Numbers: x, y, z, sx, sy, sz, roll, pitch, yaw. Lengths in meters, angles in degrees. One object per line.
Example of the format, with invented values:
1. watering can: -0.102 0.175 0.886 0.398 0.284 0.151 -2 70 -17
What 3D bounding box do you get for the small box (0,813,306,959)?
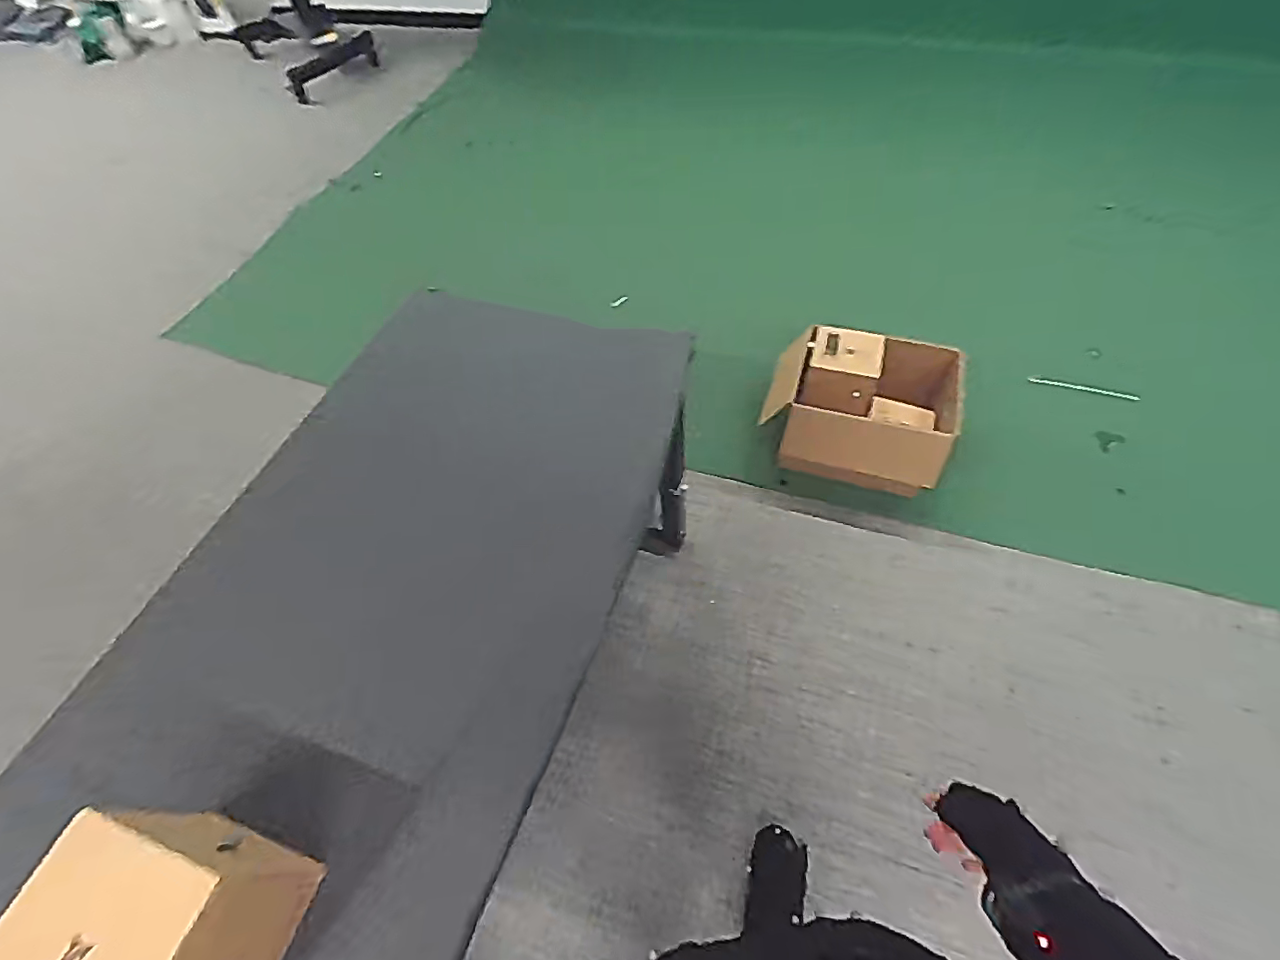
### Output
1. small box: -0.454 0.432 0.499 0.168 0.176 0.179 13 60 13
